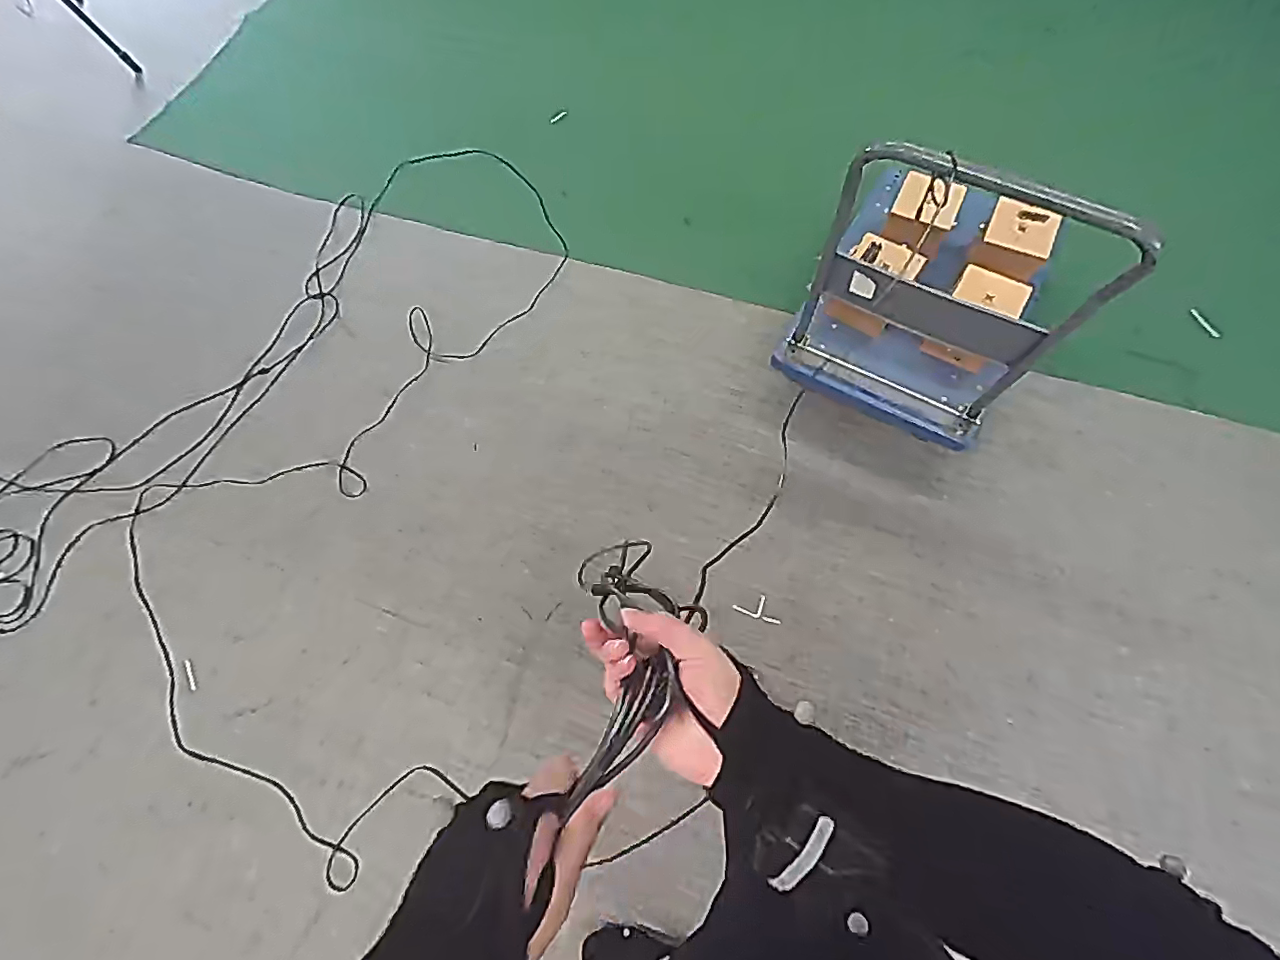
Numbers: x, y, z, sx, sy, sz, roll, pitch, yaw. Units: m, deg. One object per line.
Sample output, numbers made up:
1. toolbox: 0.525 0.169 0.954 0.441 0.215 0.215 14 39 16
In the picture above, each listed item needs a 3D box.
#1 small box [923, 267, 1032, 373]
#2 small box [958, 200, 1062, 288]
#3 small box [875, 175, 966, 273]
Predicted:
1. small box: 0.893 -0.423 1.448 0.168 0.176 0.179 29 73 15
2. small box: 1.033 -0.641 1.523 0.168 0.176 0.179 25 73 14
3. small box: 0.810 -0.742 1.580 0.168 0.176 0.179 25 72 13
